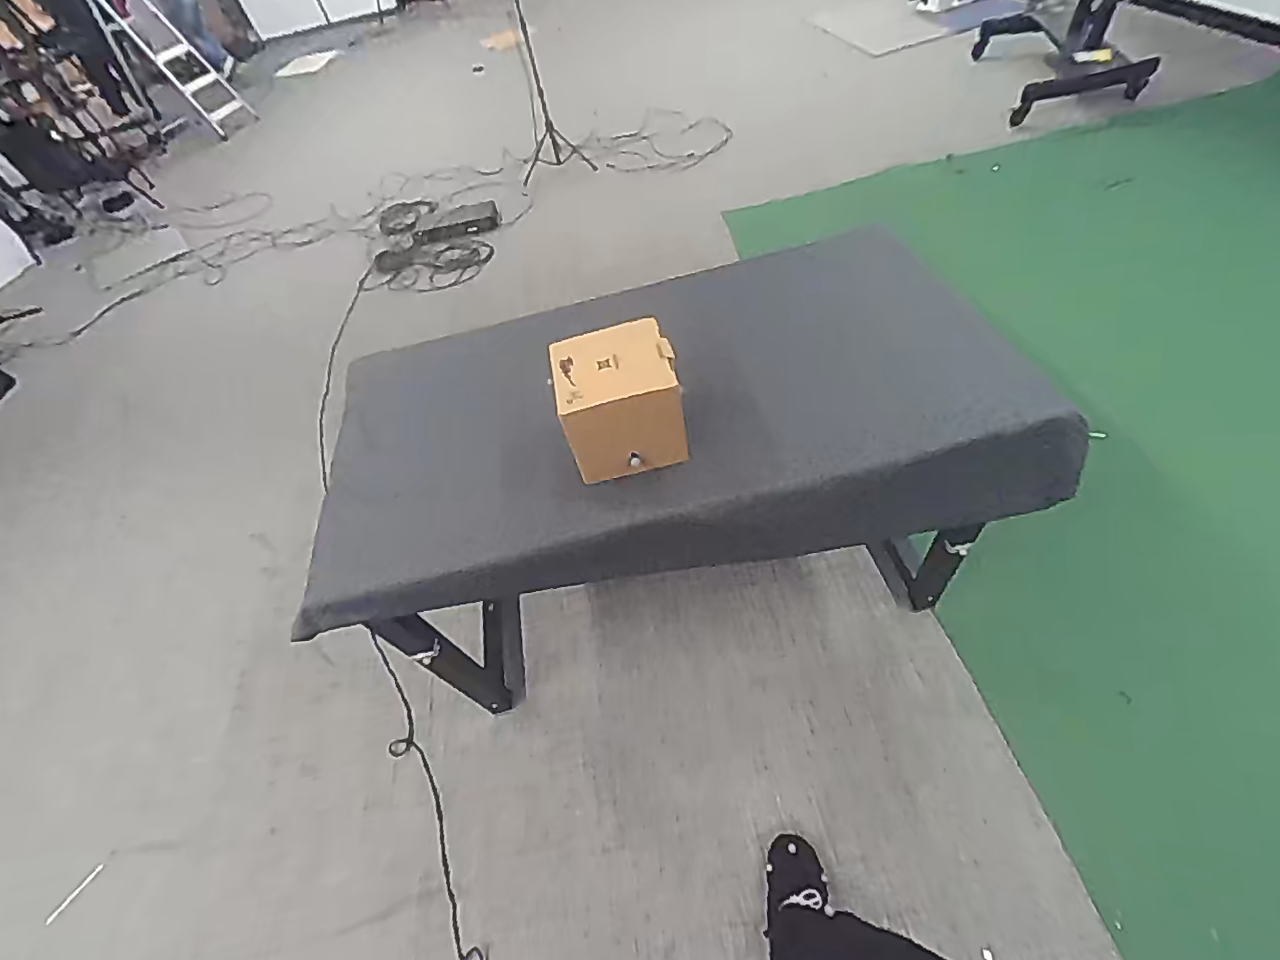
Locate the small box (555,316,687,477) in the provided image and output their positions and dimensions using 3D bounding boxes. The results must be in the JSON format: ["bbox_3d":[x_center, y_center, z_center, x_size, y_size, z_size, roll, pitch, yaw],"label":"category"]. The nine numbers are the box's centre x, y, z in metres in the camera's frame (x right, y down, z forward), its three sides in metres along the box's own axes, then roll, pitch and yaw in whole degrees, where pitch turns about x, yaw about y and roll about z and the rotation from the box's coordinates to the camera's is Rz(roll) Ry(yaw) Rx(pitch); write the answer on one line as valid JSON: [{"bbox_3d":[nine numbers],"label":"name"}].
[{"bbox_3d":[-0.025,-0.129,0.864,0.179,0.176,0.168,-14,52,2],"label":"small box"}]
